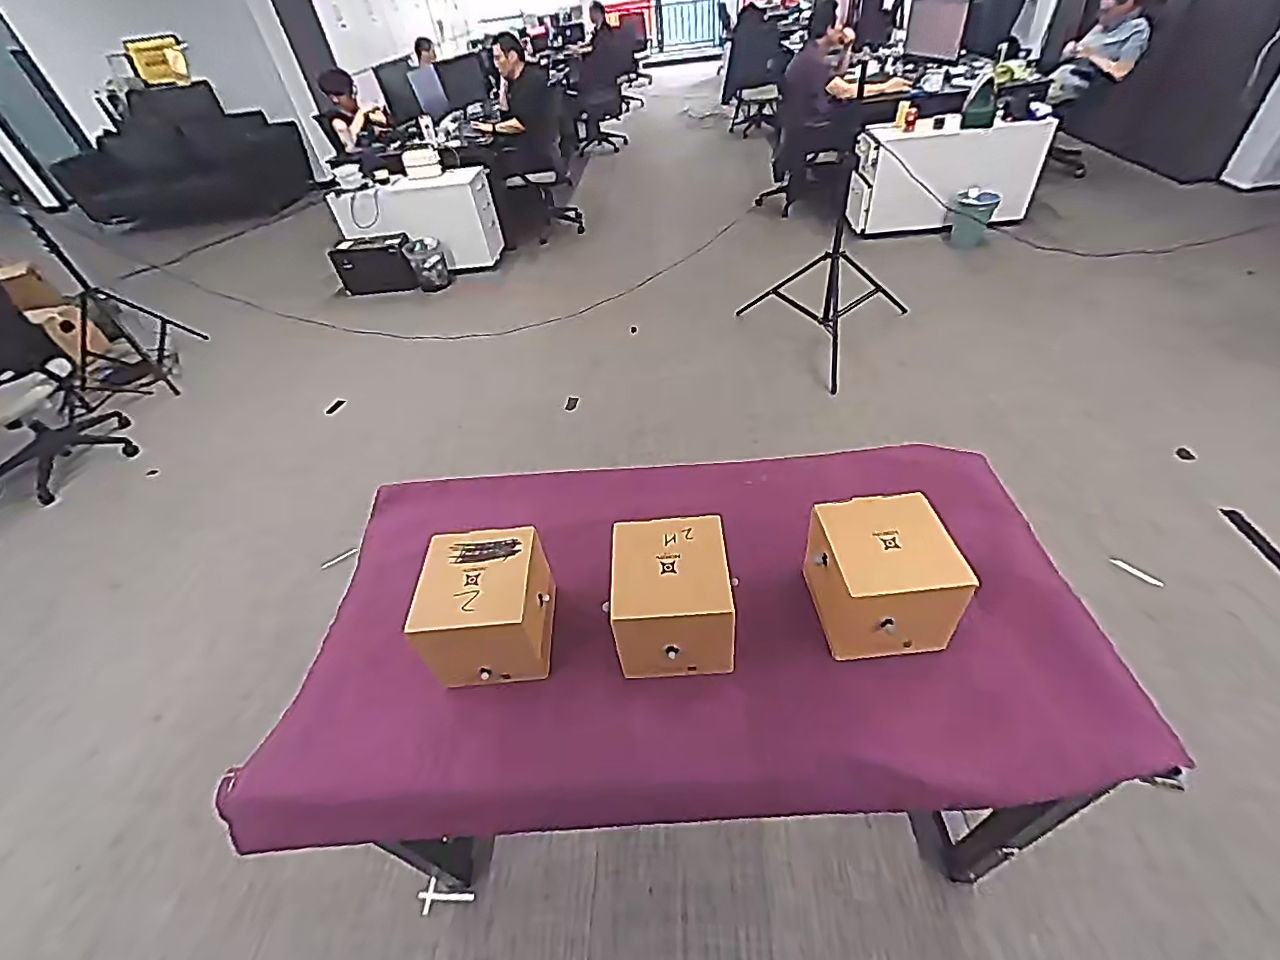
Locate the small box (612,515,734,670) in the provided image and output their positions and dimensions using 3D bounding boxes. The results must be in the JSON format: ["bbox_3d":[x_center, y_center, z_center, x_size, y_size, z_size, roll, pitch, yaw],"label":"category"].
[{"bbox_3d":[0.053,0.177,0.828,0.168,0.176,0.179,-4,43,3],"label":"small box"}]

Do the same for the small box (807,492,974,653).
[{"bbox_3d":[0.361,0.145,0.816,0.168,0.176,0.179,-7,41,2],"label":"small box"}]
